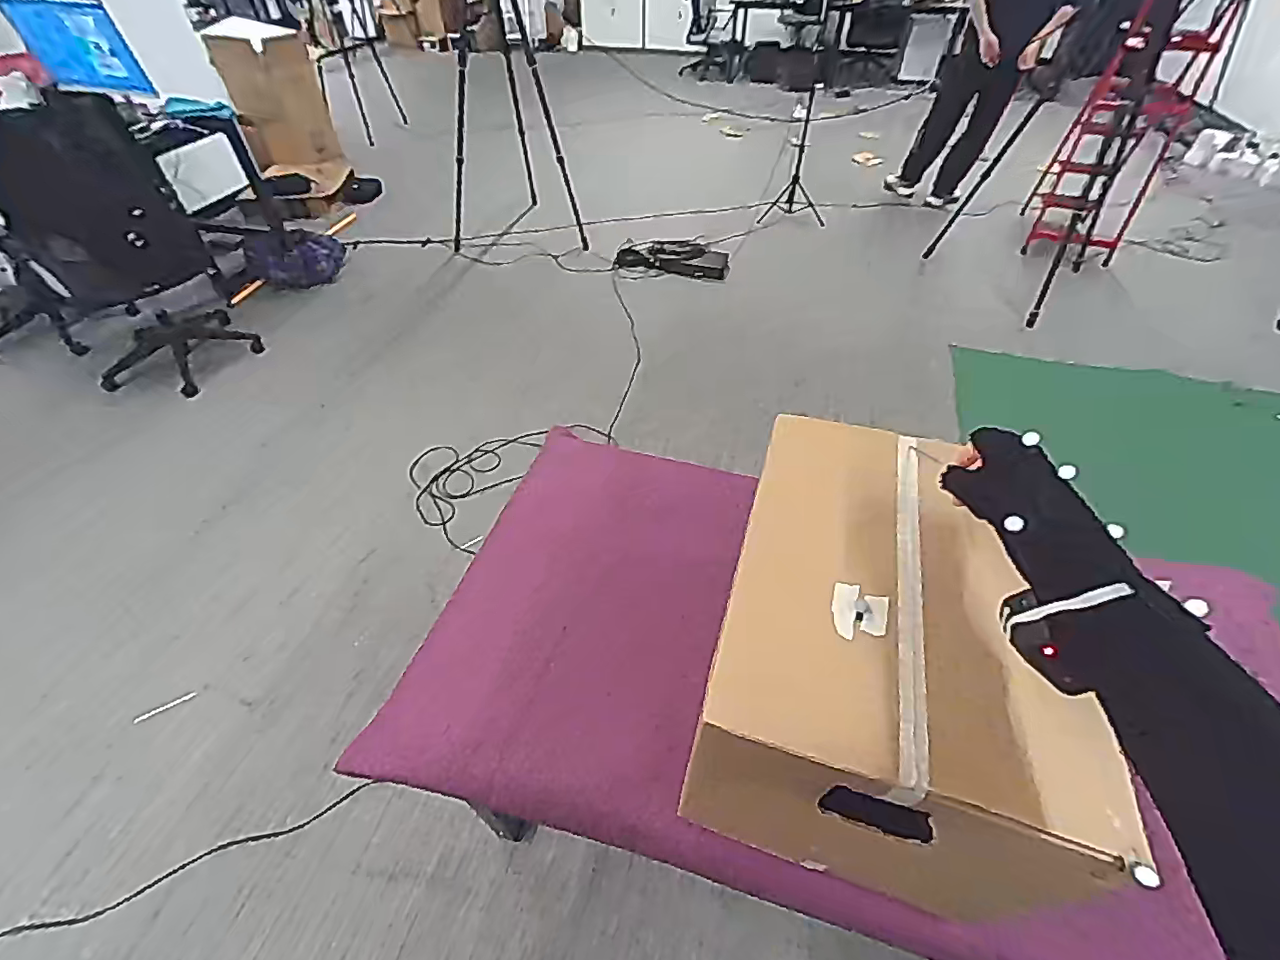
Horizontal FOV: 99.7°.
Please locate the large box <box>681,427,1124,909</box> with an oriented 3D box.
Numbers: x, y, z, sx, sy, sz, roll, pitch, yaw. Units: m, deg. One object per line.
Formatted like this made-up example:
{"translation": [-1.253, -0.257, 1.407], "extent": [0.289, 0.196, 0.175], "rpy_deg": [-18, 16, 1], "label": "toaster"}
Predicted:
{"translation": [0.254, 0.204, 0.648], "extent": [0.320, 0.320, 0.408], "rpy_deg": [14, 48, 13], "label": "large box"}
